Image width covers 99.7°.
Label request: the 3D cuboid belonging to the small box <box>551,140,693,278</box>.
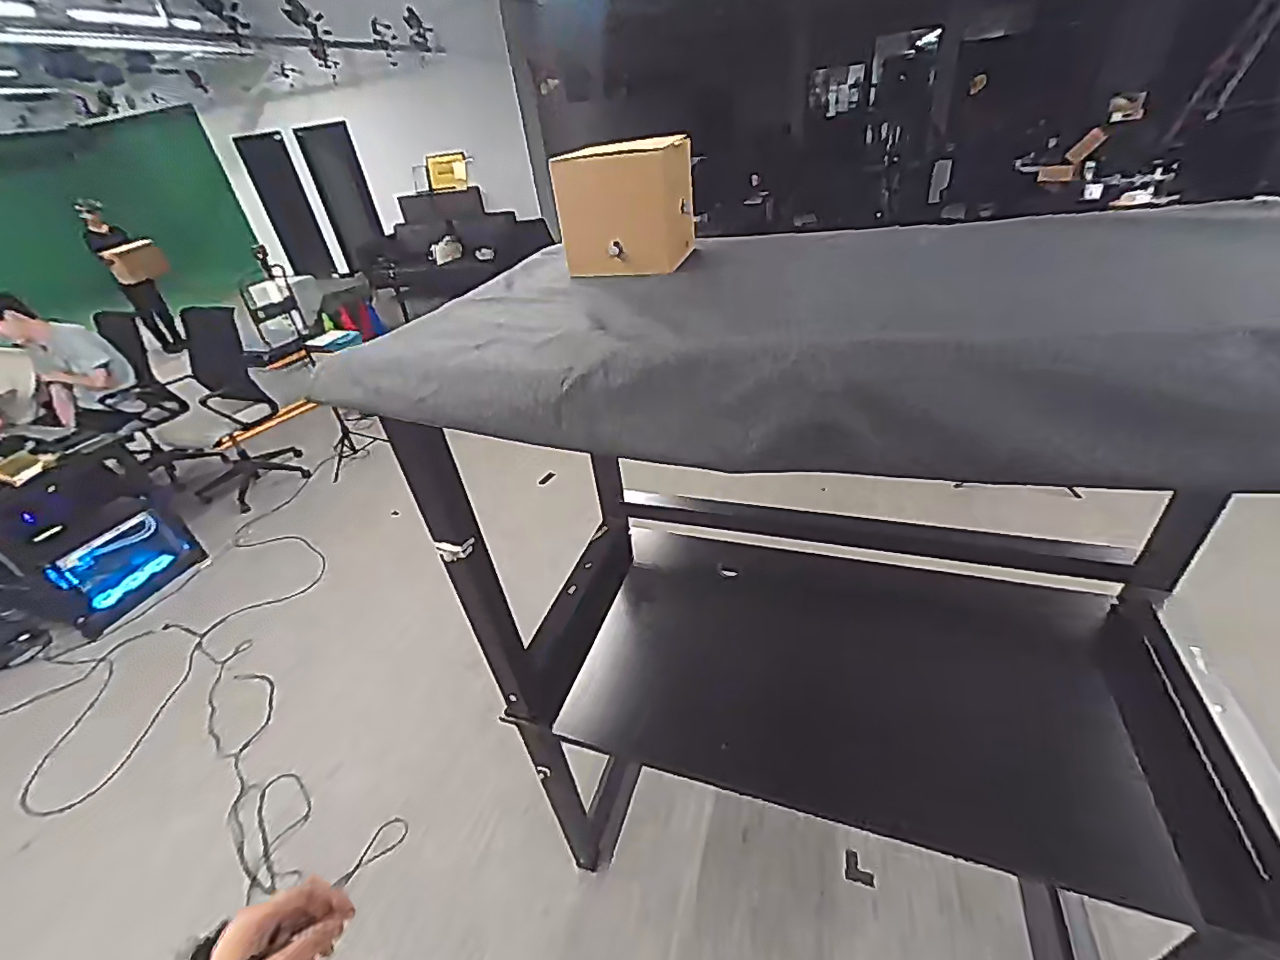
[{"bbox_3d":[-0.016,-0.427,0.857,0.179,0.176,0.168,5,36,17],"label":"small box"}]
